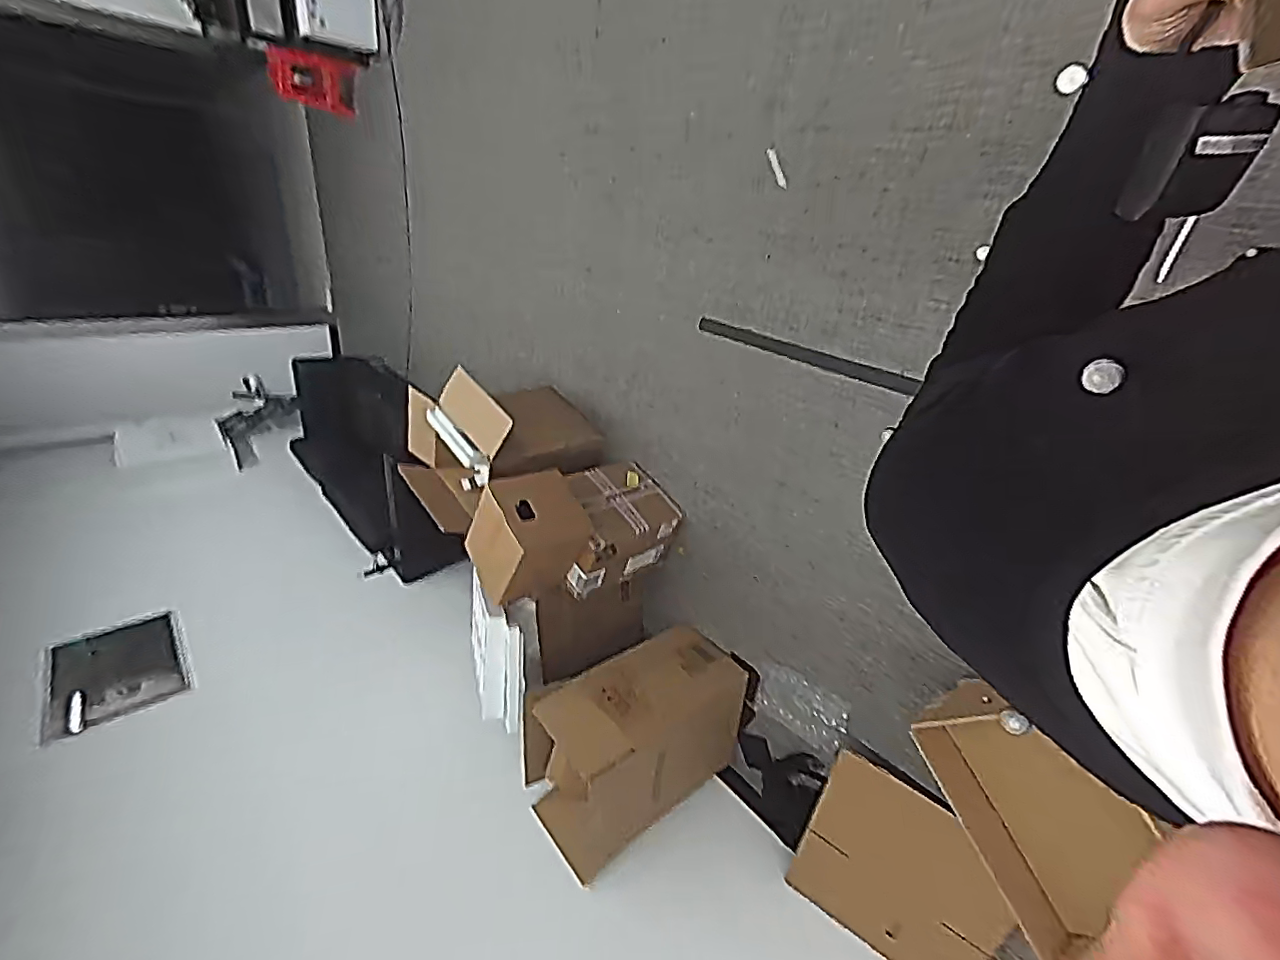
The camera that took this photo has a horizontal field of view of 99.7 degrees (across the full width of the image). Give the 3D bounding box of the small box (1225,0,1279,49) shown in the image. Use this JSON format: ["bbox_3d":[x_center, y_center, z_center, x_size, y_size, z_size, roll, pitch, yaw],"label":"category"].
[{"bbox_3d":[0.281,-0.247,0.133,0.179,0.176,0.168,9,115,46],"label":"small box"}]
